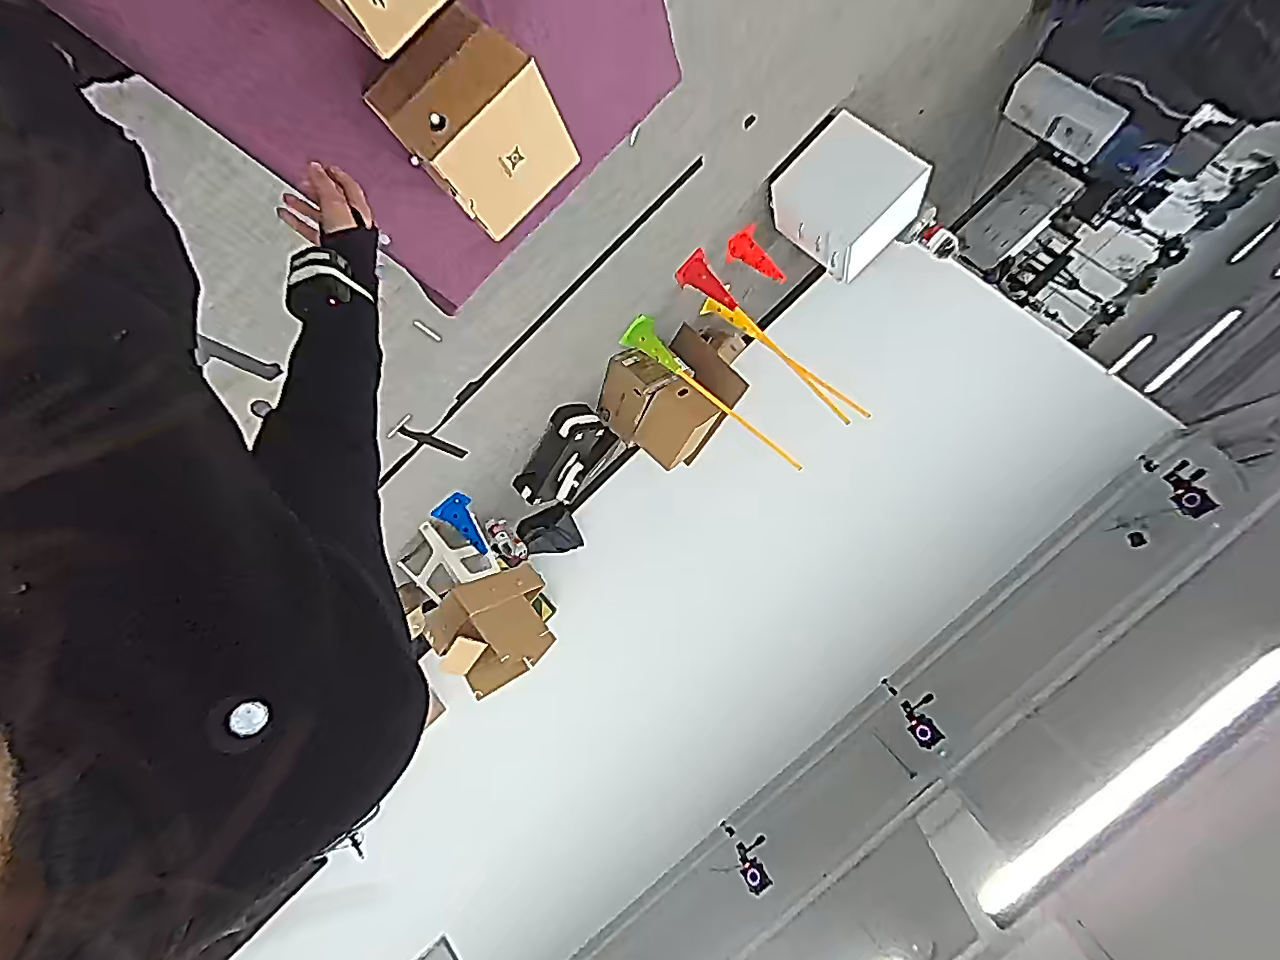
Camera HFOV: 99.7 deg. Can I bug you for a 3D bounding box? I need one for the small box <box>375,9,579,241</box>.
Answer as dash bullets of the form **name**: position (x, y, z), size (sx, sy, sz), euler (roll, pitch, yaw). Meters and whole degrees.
- **small box**: position (-0.222, -0.486, 0.749), size (0.179, 0.176, 0.168), euler (-43, 163, 3)
